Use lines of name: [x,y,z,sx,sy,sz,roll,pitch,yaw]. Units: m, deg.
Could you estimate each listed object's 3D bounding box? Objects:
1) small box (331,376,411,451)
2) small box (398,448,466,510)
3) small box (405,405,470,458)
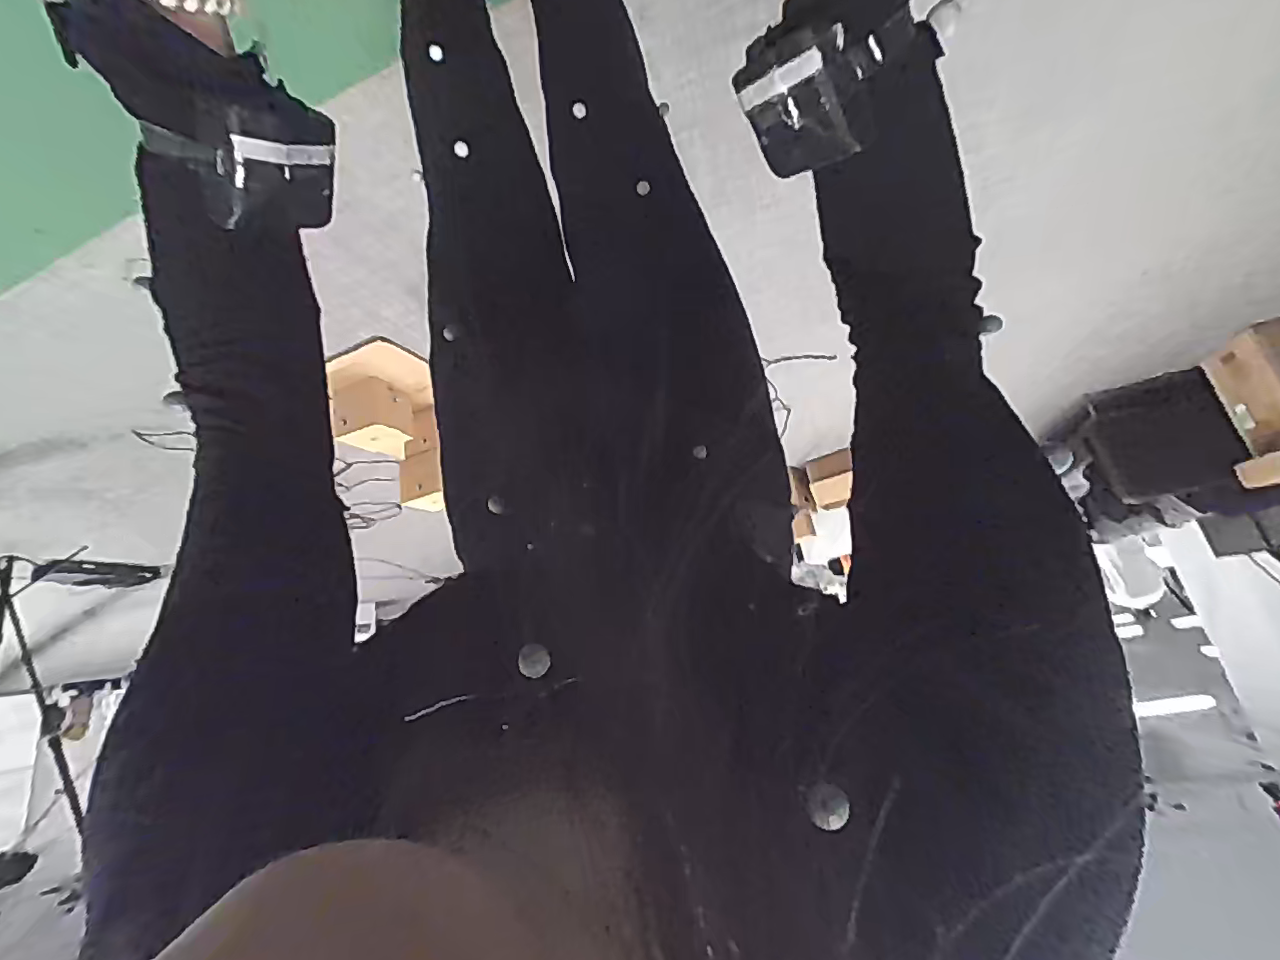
small box: [-0.883,-0.216,1.776,0.179,0.176,0.168,-16,164,14]
small box: [-0.763,-0.002,1.982,0.179,0.176,0.168,-16,162,18]
small box: [-0.765,-0.162,2.023,0.179,0.176,0.168,-17,162,20]
